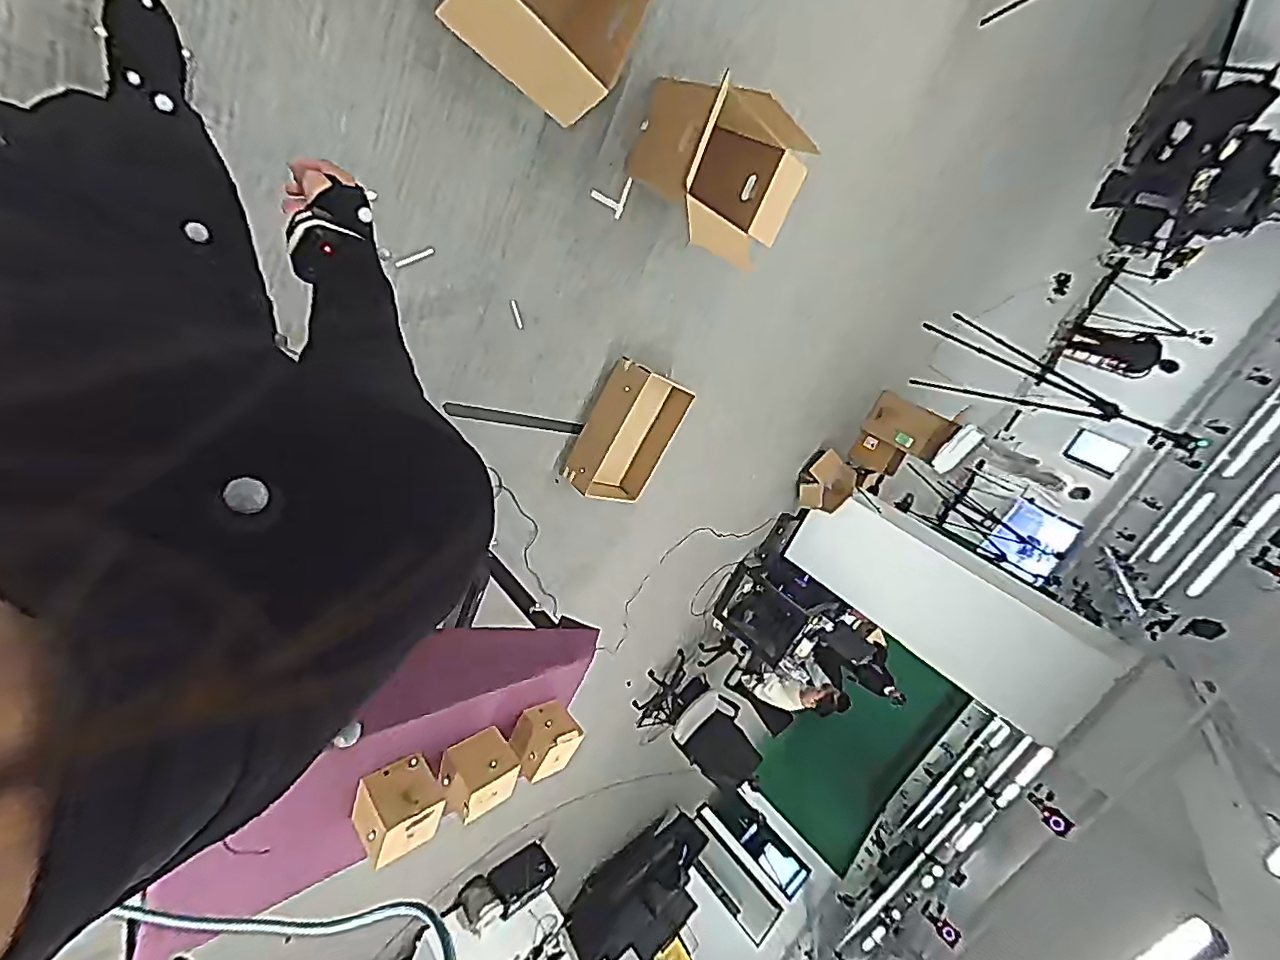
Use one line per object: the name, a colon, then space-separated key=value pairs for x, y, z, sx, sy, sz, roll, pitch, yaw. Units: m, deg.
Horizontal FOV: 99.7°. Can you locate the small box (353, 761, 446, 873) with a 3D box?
small box: x=-0.662 y=0.907 z=1.480 sx=0.168 sy=0.176 sz=0.179 roll=-6 pitch=126 yaw=-49

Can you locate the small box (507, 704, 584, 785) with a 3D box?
small box: x=-0.336 y=0.914 z=1.892 sx=0.168 sy=0.176 sz=0.179 roll=8 pitch=115 yaw=-53

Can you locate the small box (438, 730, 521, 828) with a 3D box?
small box: x=-0.503 y=0.924 z=1.692 sx=0.179 sy=0.176 sz=0.168 roll=-11 pitch=128 yaw=-46
